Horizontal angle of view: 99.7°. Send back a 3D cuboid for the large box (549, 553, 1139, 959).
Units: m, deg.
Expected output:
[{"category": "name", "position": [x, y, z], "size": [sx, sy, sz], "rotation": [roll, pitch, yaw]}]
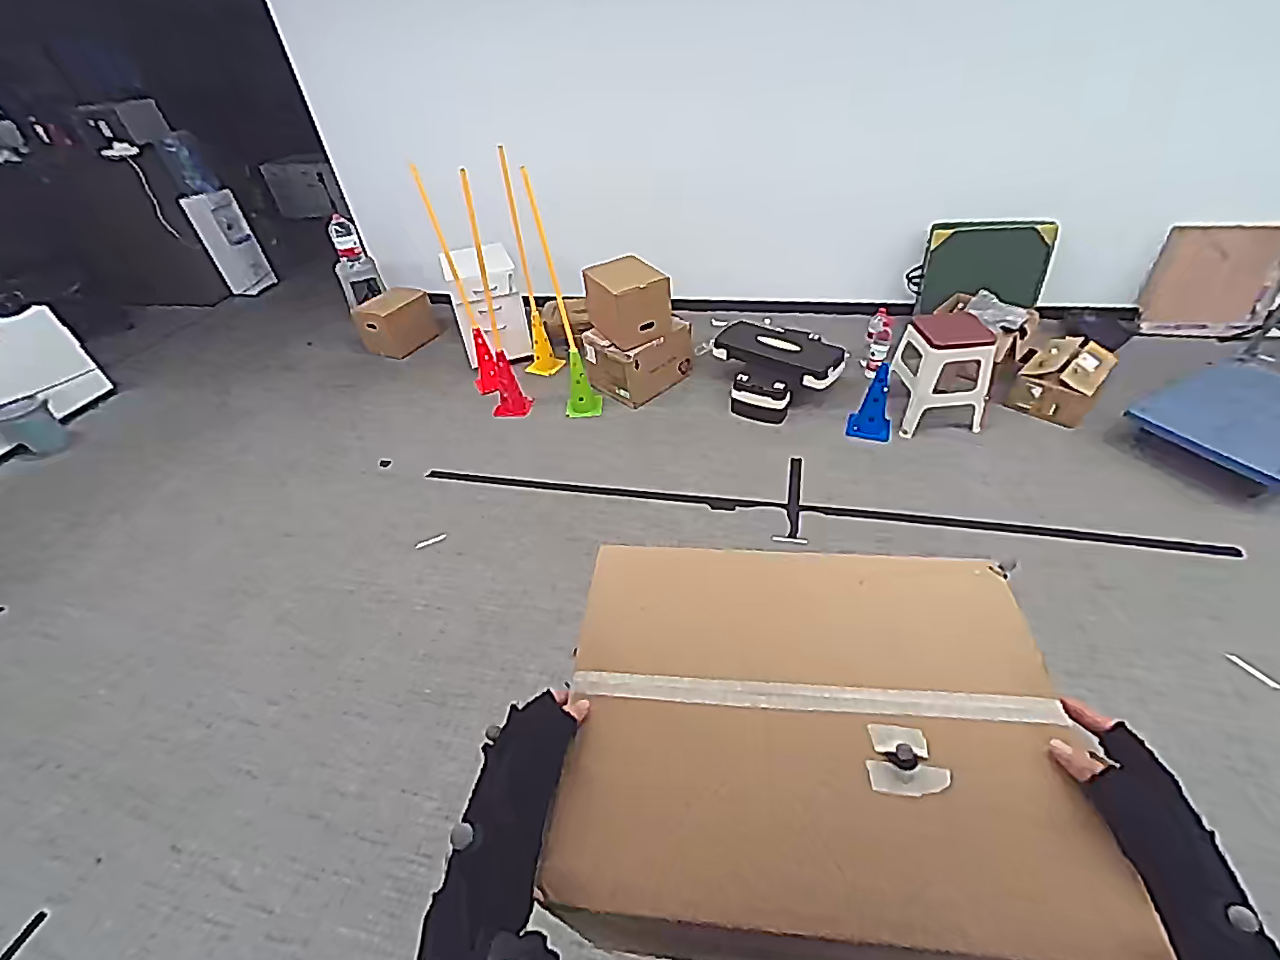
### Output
[{"category": "large box", "position": [0.150, 0.297, 0.578], "size": [0.408, 0.320, 0.320], "rotation": [1, 45, 7]}]
